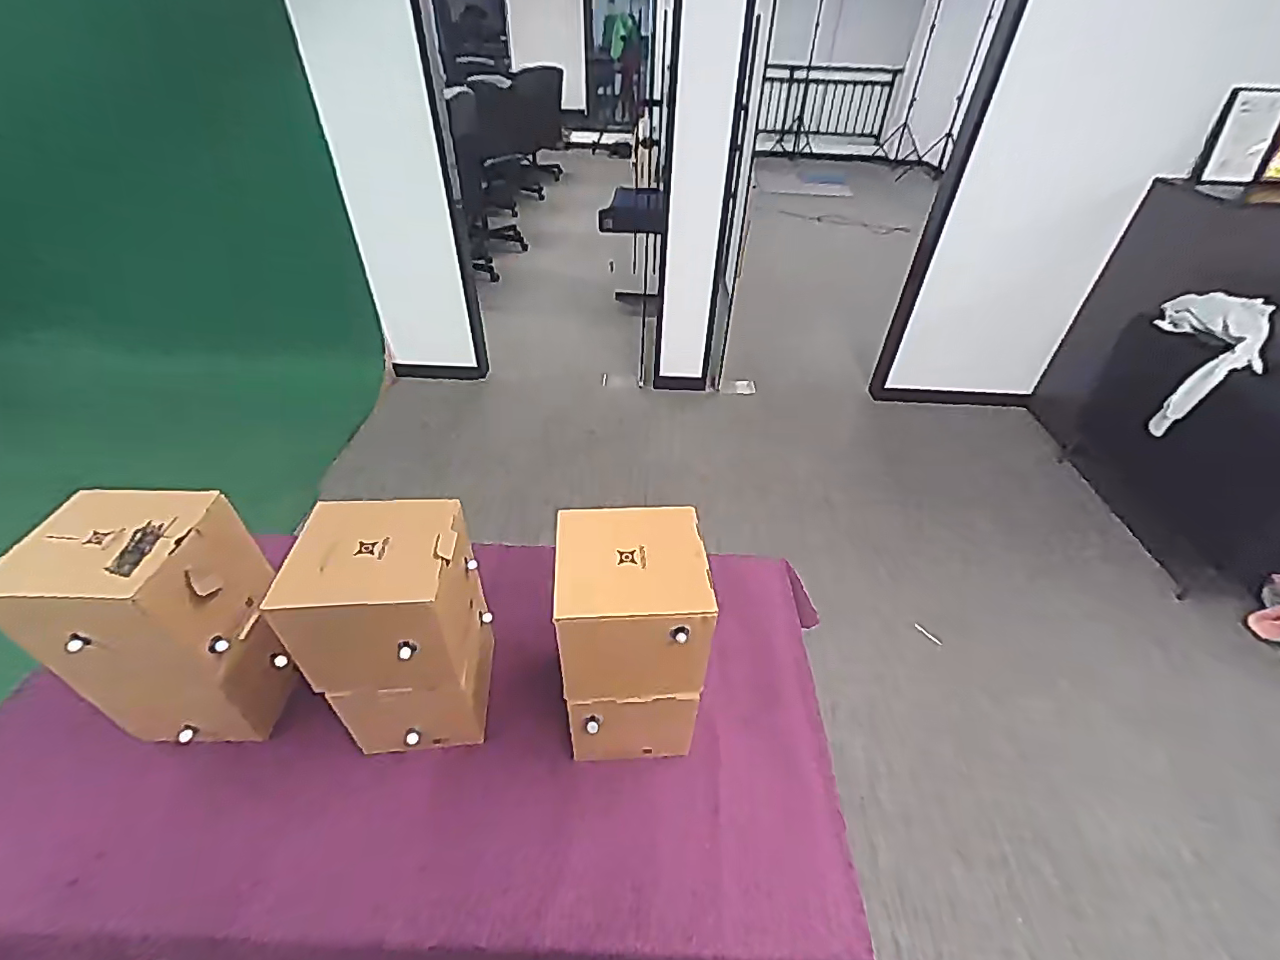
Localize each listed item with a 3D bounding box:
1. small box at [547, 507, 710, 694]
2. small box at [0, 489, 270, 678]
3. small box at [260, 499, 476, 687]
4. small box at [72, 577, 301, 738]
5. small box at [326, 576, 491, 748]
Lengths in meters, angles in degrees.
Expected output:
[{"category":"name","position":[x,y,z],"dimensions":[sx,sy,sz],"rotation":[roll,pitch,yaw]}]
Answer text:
[{"category":"small box","position":[-0.018,0.152,0.678],"dimensions":[0.179,0.176,0.168],"rotation":[-1,41,-5]},{"category":"small box","position":[-0.609,0.129,0.669],"dimensions":[0.179,0.176,0.168],"rotation":[1,41,-1]},{"category":"small box","position":[-0.314,0.140,0.675],"dimensions":[0.179,0.176,0.168],"rotation":[-1,40,-4]},{"category":"small box","position":[-0.615,0.253,0.777],"dimensions":[0.179,0.176,0.168],"rotation":[1,41,-1]},{"category":"small box","position":[-0.317,0.262,0.785],"dimensions":[0.168,0.176,0.179],"rotation":[-2,42,-5]}]
